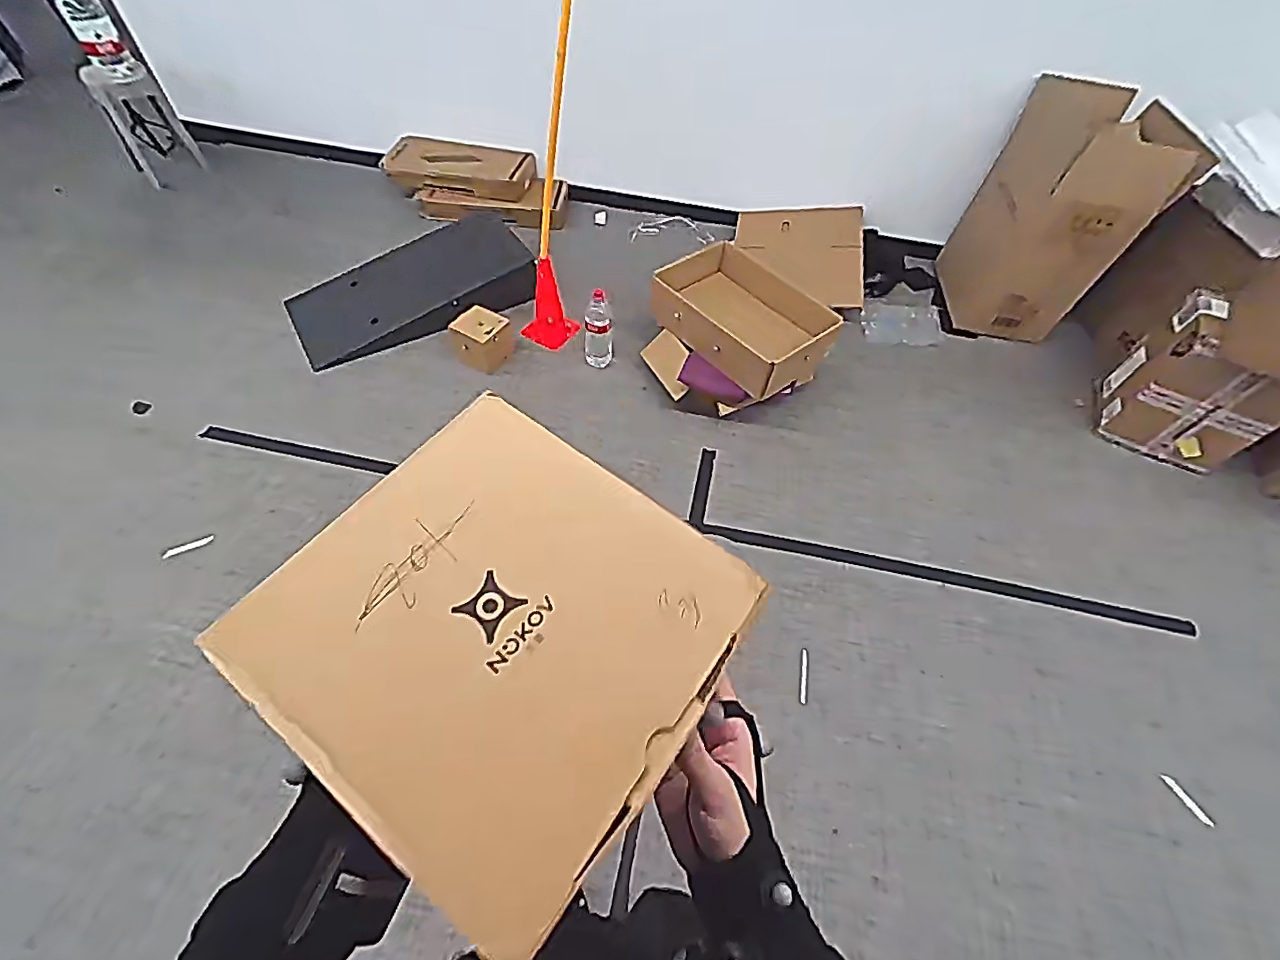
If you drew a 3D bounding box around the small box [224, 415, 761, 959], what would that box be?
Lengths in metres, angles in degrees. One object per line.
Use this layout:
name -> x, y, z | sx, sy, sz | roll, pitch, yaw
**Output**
small box -> -0.062, 0.103, 0.305 | 0.179, 0.176, 0.168 | 32, 62, 16
